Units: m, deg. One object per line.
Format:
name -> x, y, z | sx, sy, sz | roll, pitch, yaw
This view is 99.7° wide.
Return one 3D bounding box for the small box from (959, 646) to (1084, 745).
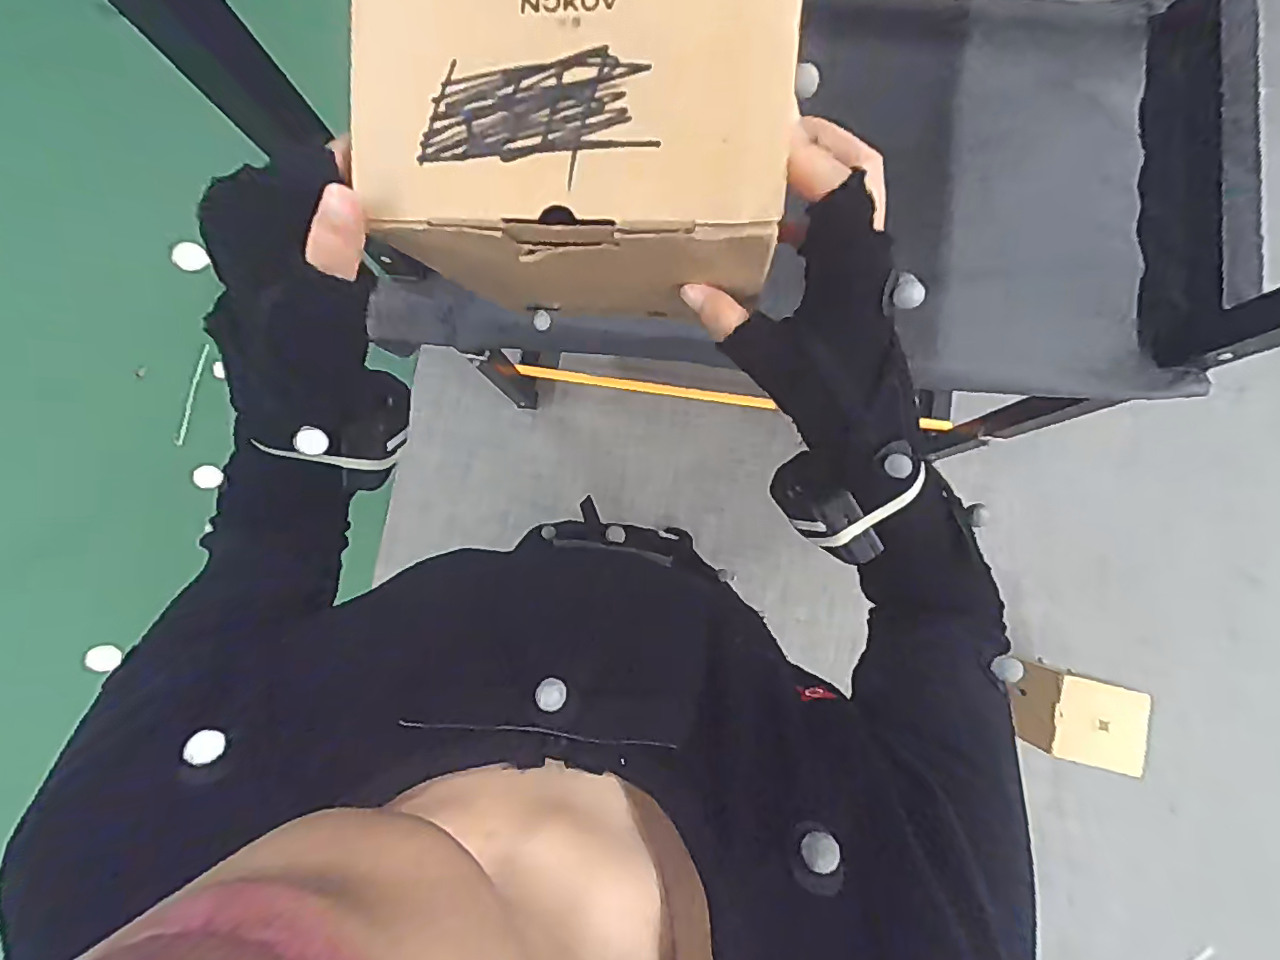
small box -> 0.929, 0.519, 1.328 | 0.179, 0.176, 0.168 | 14, 83, 5
